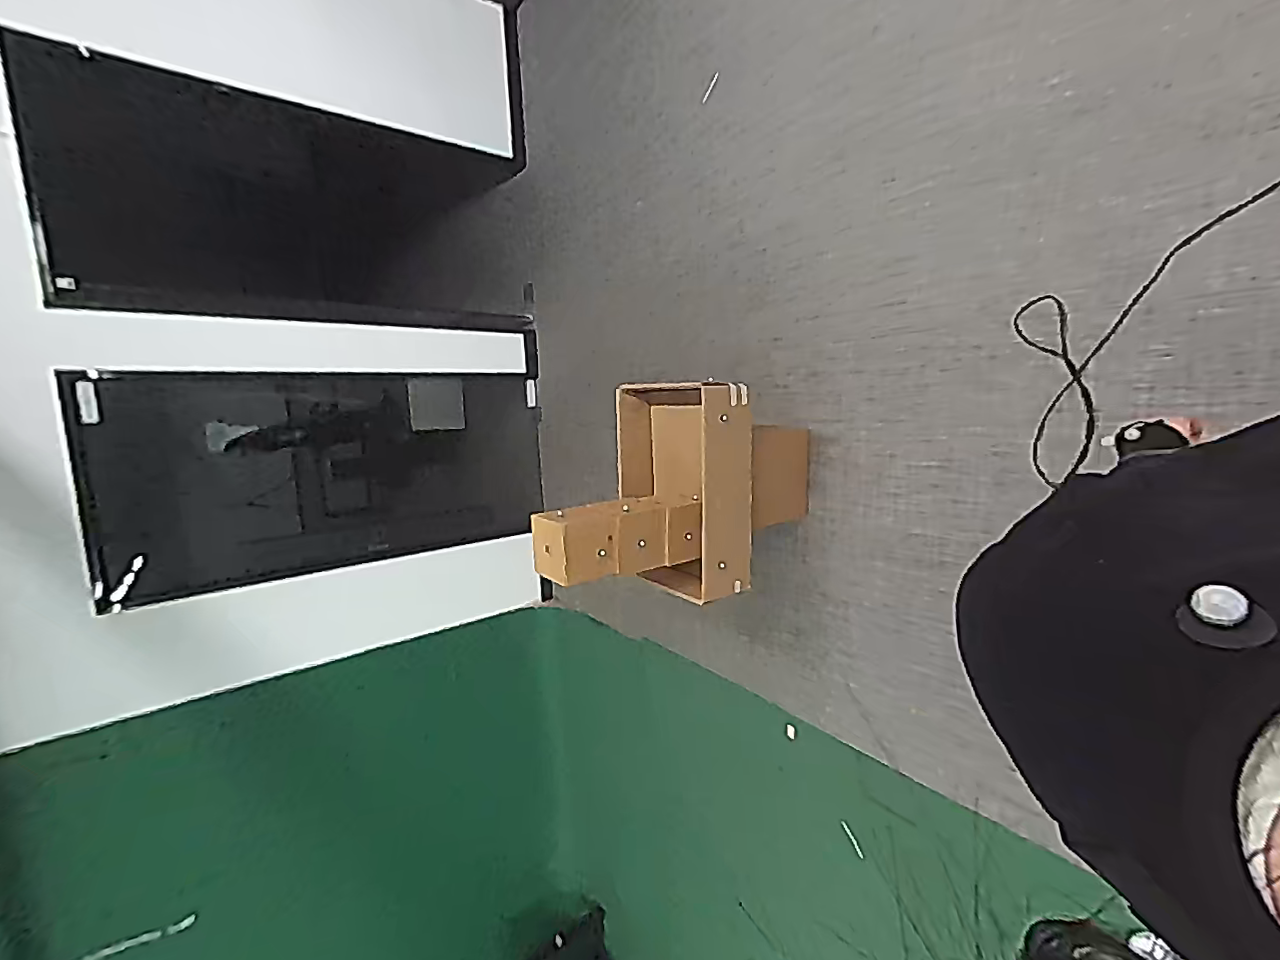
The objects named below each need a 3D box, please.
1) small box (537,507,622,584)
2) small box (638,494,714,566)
[{"bbox_3d":[-0.164,0.169,1.469,0.179,0.176,0.168,8,102,52],"label":"small box"},{"bbox_3d":[0.110,0.144,1.646,0.168,0.176,0.179,12,106,52],"label":"small box"}]
